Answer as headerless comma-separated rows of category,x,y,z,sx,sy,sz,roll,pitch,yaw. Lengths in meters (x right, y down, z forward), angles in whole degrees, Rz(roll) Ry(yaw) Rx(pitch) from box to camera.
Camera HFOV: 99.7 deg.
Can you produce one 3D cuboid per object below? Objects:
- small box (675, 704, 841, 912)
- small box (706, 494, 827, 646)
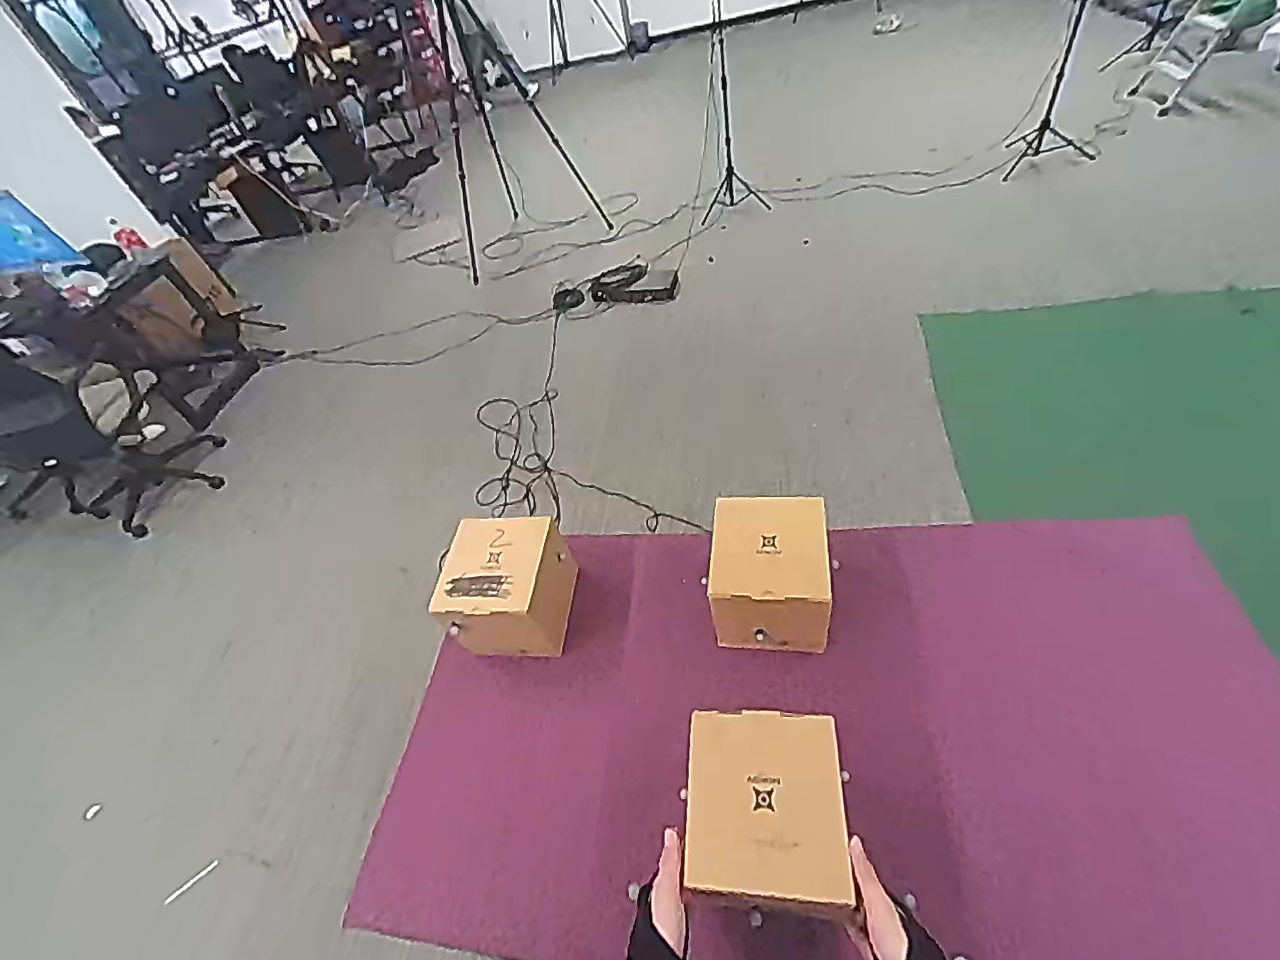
small box,0.144,0.391,0.649,0.168,0.176,0.179,-3,48,15
small box,0.200,0.141,0.851,0.168,0.176,0.179,-1,52,15
